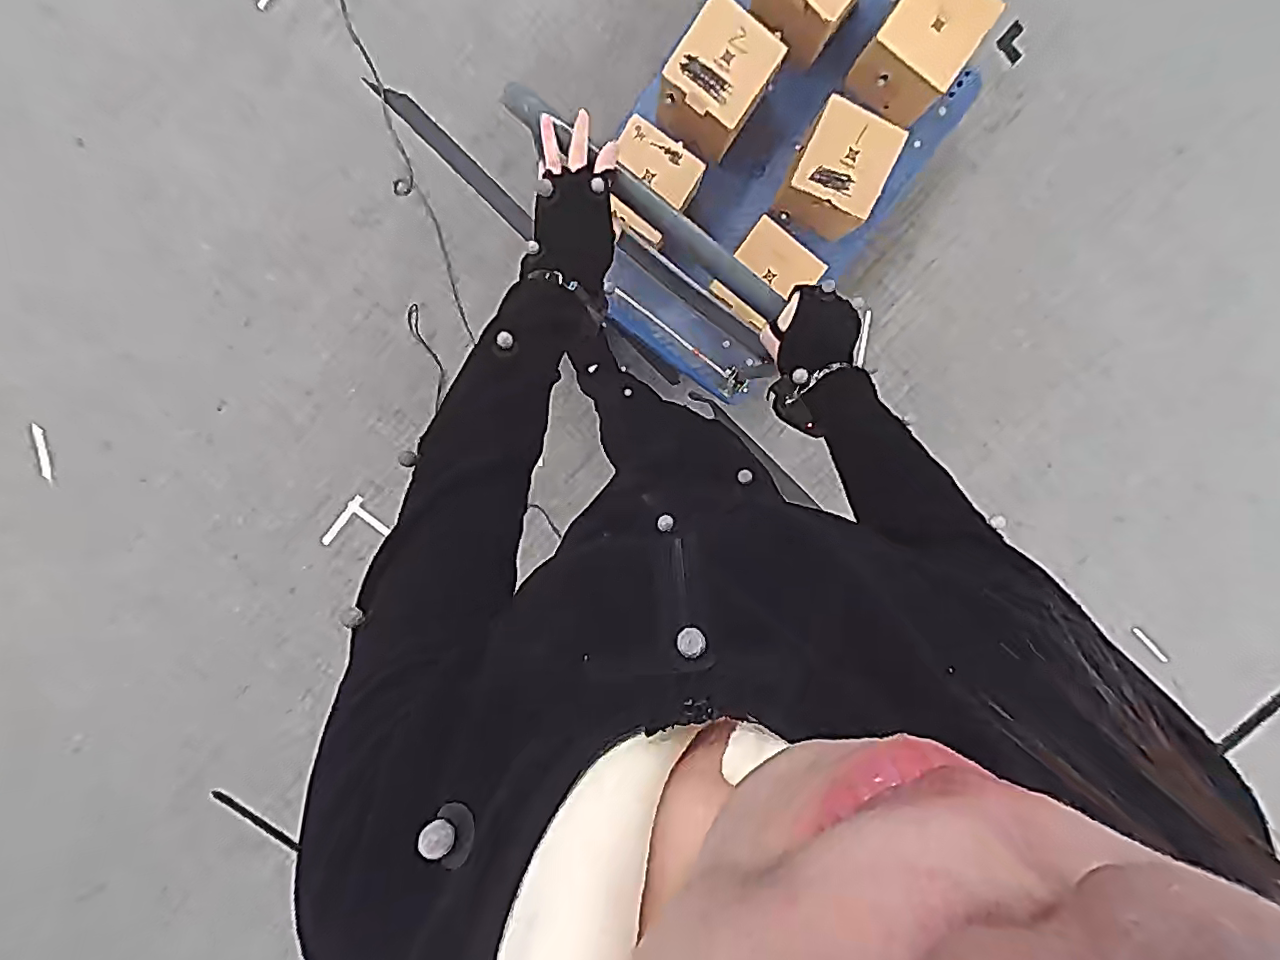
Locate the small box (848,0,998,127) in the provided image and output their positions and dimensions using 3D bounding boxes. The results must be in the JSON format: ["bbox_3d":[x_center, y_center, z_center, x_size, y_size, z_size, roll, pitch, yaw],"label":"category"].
[{"bbox_3d":[0.540,-0.851,1.068,0.168,0.176,0.179,34,98,-7],"label":"small box"}]

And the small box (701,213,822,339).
[{"bbox_3d":[0.244,-0.417,1.145,0.168,0.176,0.179,37,97,-8],"label":"small box"}]

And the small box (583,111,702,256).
[{"bbox_3d":[0.004,-0.589,1.104,0.168,0.176,0.179,33,99,-8],"label":"small box"}]

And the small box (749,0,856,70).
[{"bbox_3d":[0.333,-0.959,1.040,0.168,0.176,0.179,38,98,-7],"label":"small box"}]

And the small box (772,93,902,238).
[{"bbox_3d":[0.389,-0.627,1.107,0.168,0.176,0.179,24,99,-6],"label":"small box"}]
